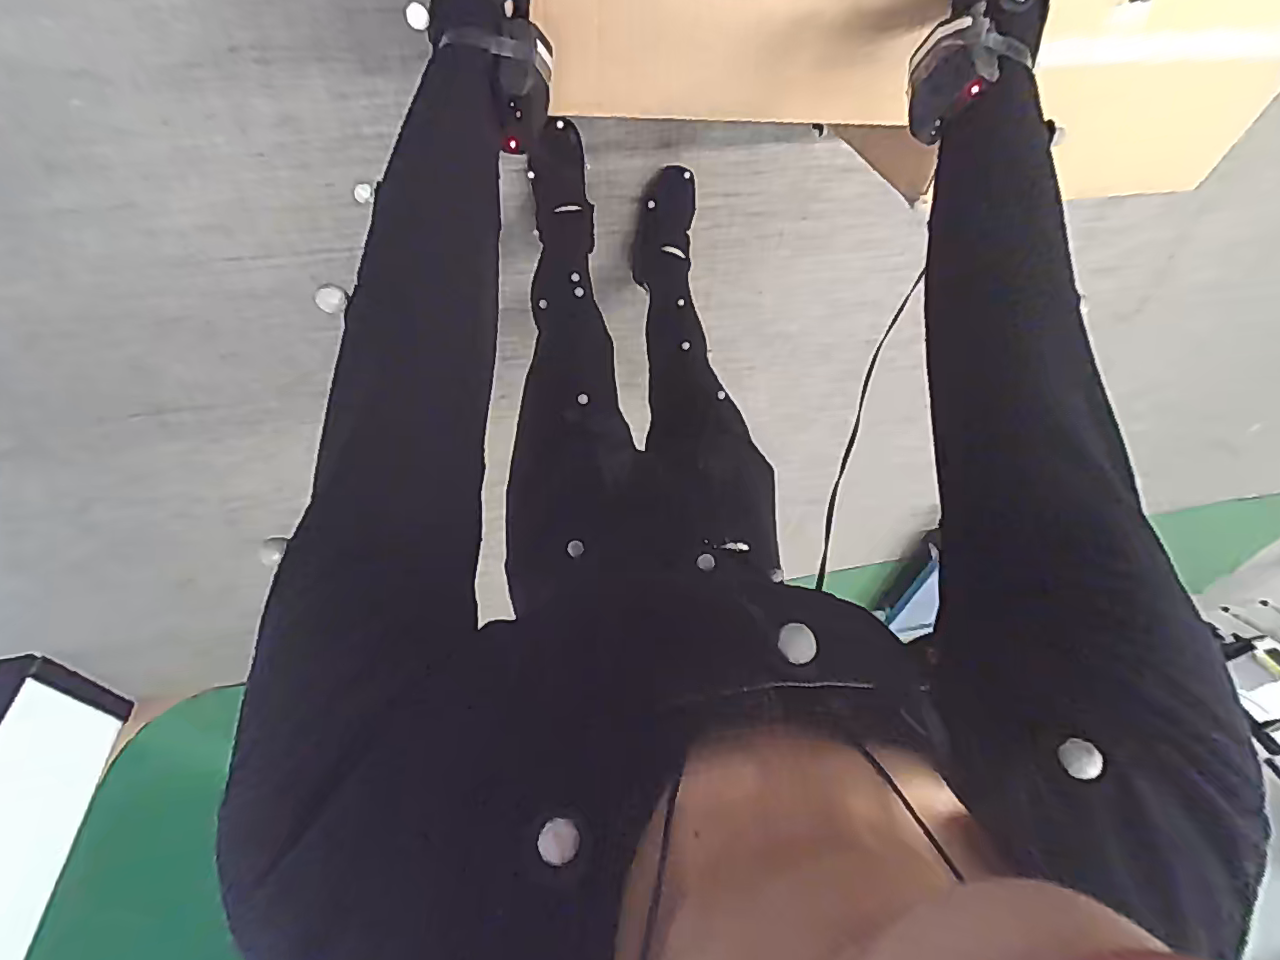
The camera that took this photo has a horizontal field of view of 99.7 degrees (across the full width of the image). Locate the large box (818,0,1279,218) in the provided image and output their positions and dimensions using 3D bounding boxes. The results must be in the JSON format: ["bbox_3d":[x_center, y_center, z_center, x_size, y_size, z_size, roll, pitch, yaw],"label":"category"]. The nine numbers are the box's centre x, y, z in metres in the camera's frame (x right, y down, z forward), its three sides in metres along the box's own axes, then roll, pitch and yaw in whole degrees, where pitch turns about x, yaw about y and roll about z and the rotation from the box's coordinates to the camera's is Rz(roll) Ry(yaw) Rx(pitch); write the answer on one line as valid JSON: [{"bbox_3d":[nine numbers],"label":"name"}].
[{"bbox_3d":[0.492,-0.553,0.645,0.408,0.320,0.320,-8,141,-7],"label":"large box"}]
